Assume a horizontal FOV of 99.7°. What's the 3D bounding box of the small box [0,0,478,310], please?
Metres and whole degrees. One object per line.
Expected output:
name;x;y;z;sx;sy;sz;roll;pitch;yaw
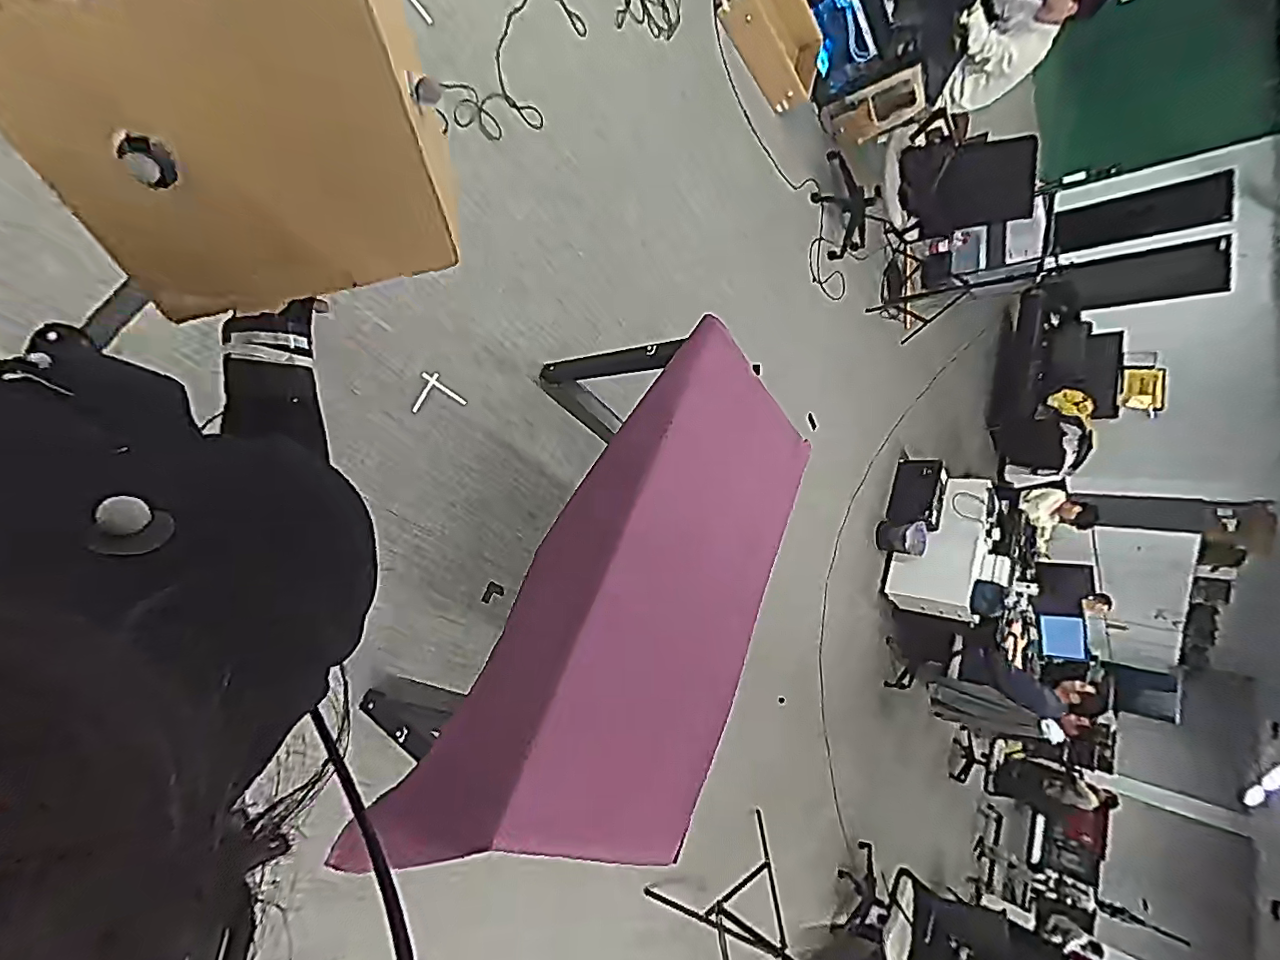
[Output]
small box;-0.198;-0.225;0.296;0.168;0.179;0.176;-13;140;-8
